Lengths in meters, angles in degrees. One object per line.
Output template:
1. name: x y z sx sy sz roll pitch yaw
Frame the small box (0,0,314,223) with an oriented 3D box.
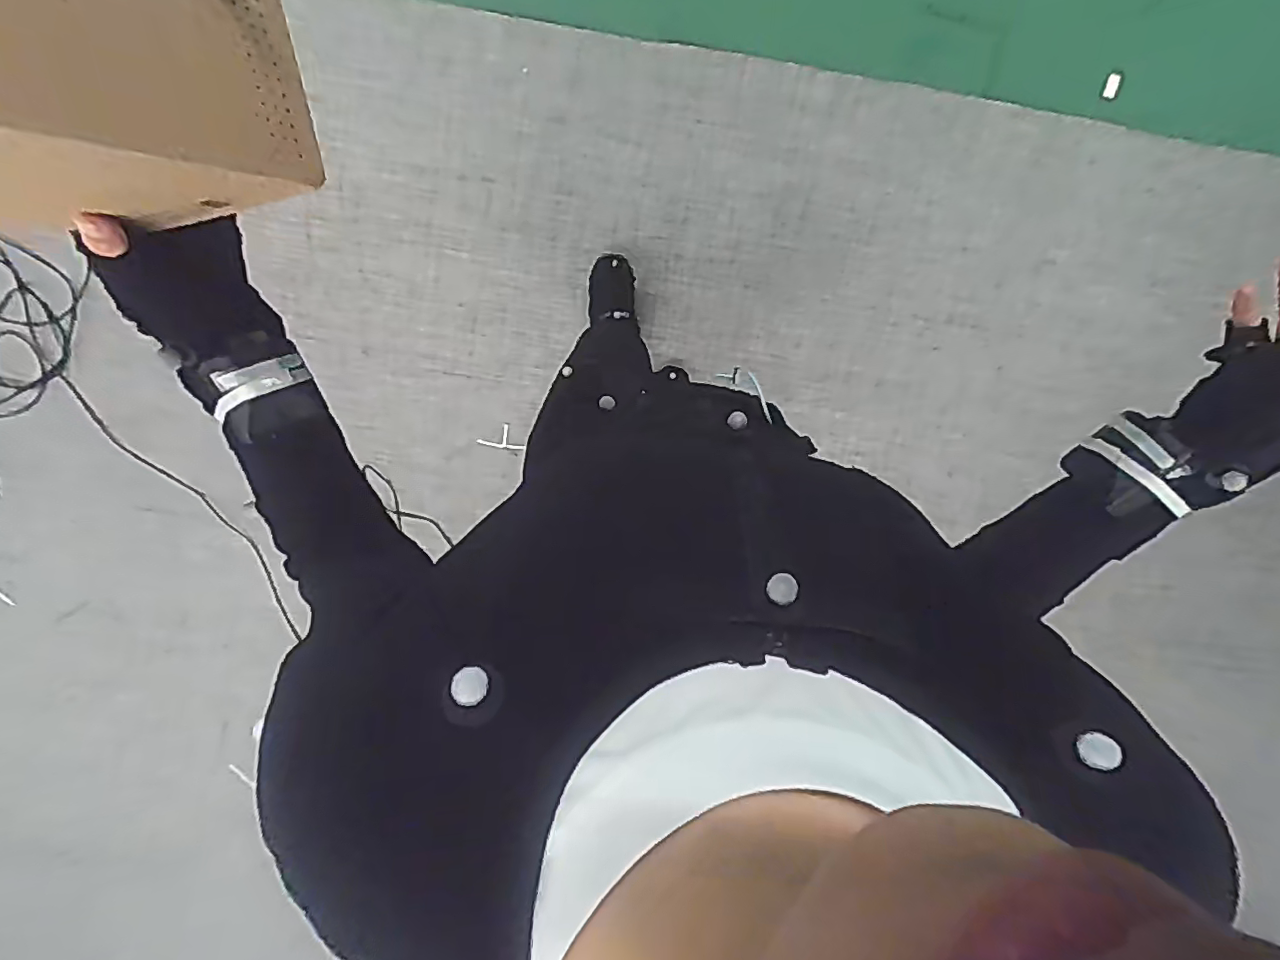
1. small box: -0.267 -0.208 0.200 0.168 0.176 0.179 0 109 19
